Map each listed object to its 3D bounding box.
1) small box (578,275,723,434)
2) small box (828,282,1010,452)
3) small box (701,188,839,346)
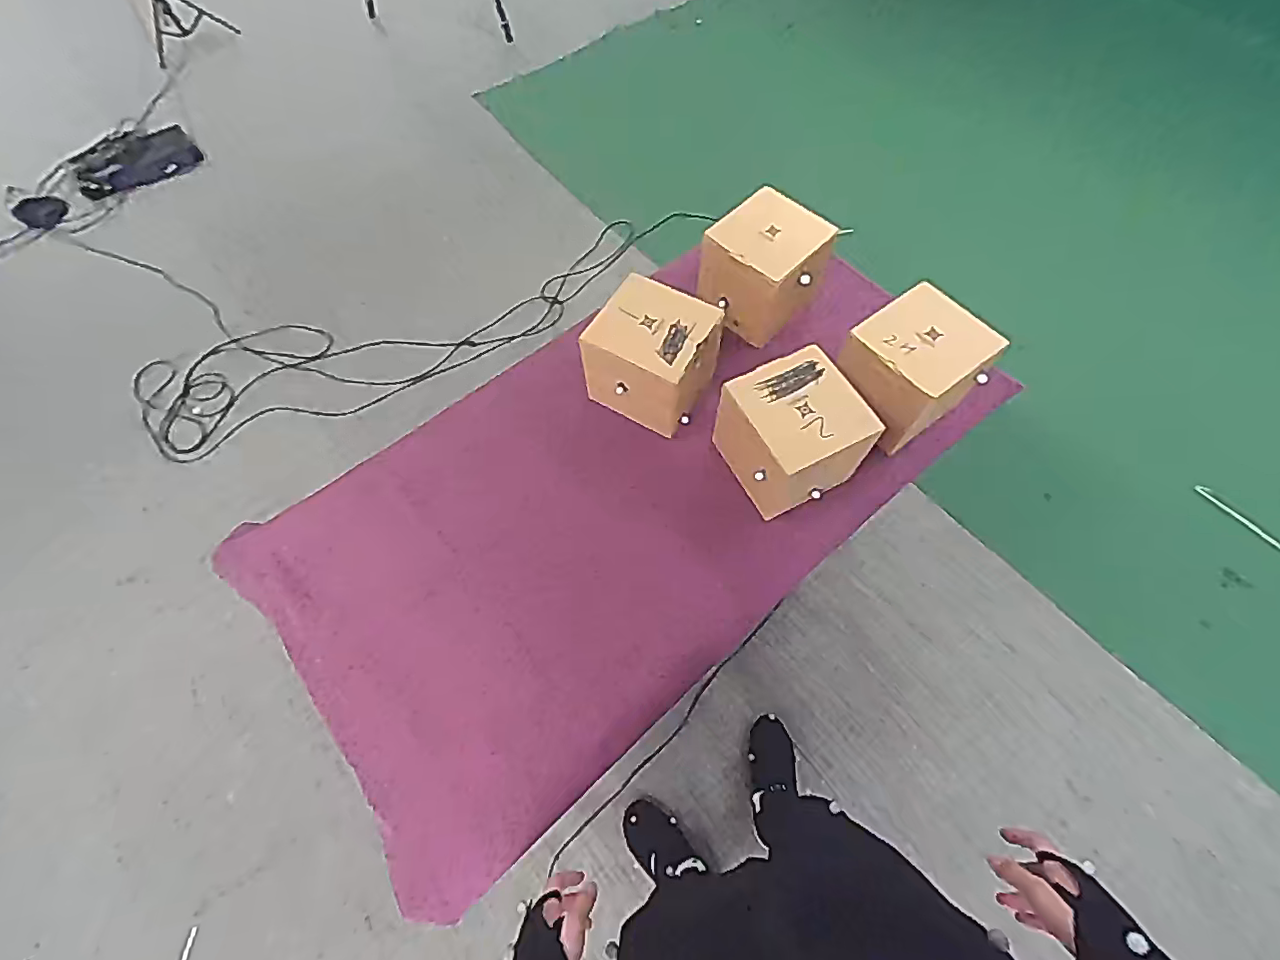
[{"bbox_3d":[0.020,-0.202,0.915,0.179,0.176,0.168,28,68,14],"label":"small box"},{"bbox_3d":[0.442,-0.180,0.888,0.179,0.176,0.168,-34,67,-13],"label":"small box"},{"bbox_3d":[0.227,-0.387,0.998,0.168,0.176,0.179,42,73,18],"label":"small box"}]
